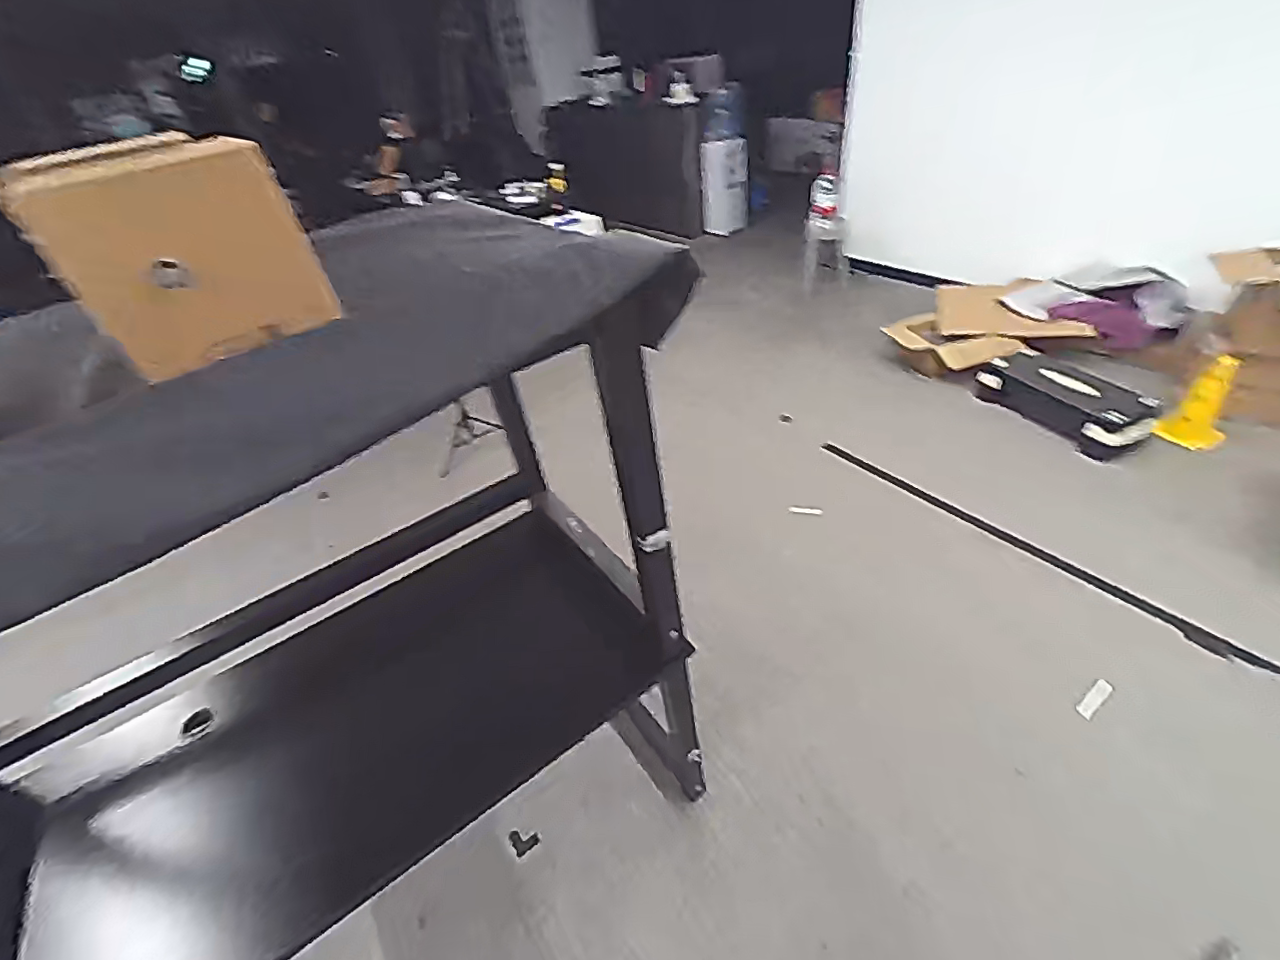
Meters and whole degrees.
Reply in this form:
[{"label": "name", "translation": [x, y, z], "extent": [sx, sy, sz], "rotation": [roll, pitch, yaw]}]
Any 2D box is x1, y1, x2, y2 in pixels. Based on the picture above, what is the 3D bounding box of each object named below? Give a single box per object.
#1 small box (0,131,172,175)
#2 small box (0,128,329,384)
[{"label": "small box", "translation": [-0.627, -0.318, 0.673], "extent": [0.179, 0.176, 0.168], "rotation": [-30, 44, -23]}, {"label": "small box", "translation": [-0.423, -0.208, 0.502], "extent": [0.168, 0.176, 0.179], "rotation": [-32, 43, -25]}]
